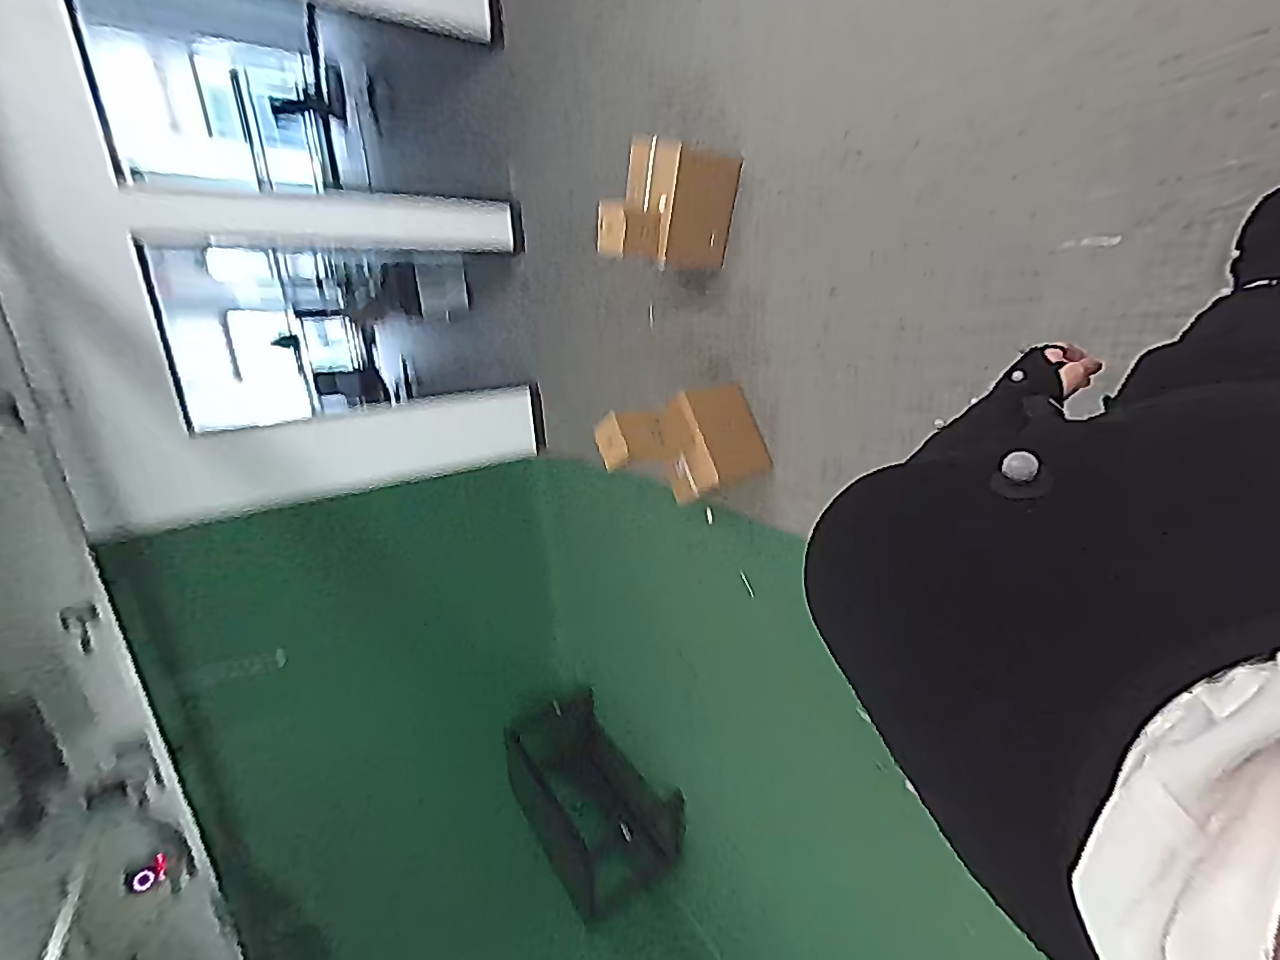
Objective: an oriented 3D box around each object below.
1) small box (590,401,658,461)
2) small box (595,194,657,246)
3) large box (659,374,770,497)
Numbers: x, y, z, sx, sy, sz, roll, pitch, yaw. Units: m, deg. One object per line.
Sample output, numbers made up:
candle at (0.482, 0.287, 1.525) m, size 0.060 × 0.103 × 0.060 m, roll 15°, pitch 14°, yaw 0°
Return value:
small box at (-0.060, -0.187, 2.054) m, size 0.179 × 0.176 × 0.168 m, roll -33°, pitch 75°, yaw 54°
small box at (-0.053, -0.982, 2.045) m, size 0.179 × 0.176 × 0.168 m, roll 33°, pitch 127°, yaw 44°
large box at (0.280, -0.190, 2.297) m, size 0.320 × 0.320 × 0.408 m, roll -37°, pitch 72°, yaw 56°
